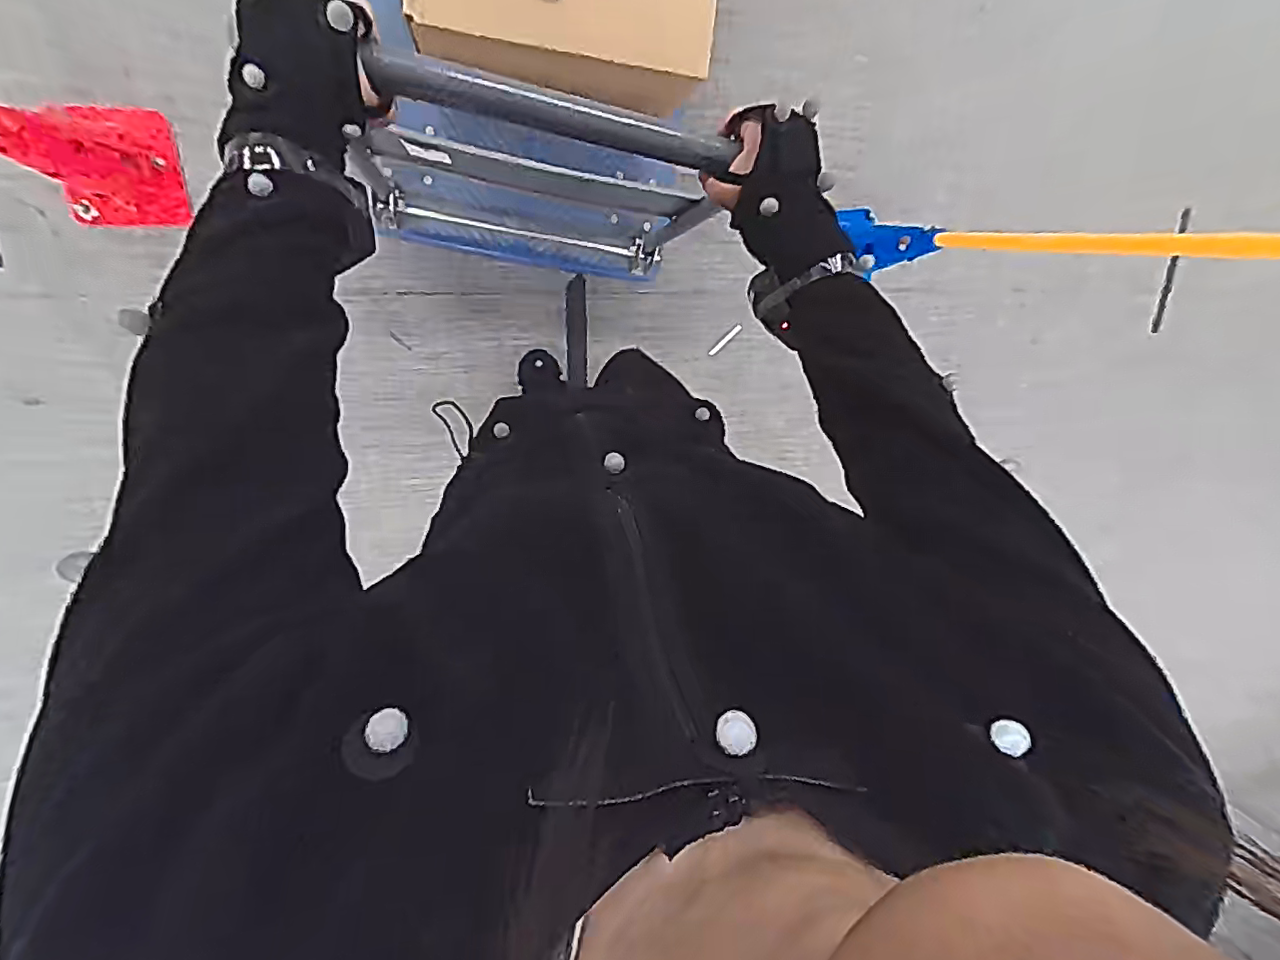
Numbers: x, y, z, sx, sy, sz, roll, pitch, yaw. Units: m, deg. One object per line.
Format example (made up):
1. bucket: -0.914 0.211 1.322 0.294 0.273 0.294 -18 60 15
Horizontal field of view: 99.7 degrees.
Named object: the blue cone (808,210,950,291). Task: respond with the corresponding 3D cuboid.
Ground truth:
1. blue cone: 0.561 -0.546 1.250 0.193 0.380 0.192 -8 109 -12
